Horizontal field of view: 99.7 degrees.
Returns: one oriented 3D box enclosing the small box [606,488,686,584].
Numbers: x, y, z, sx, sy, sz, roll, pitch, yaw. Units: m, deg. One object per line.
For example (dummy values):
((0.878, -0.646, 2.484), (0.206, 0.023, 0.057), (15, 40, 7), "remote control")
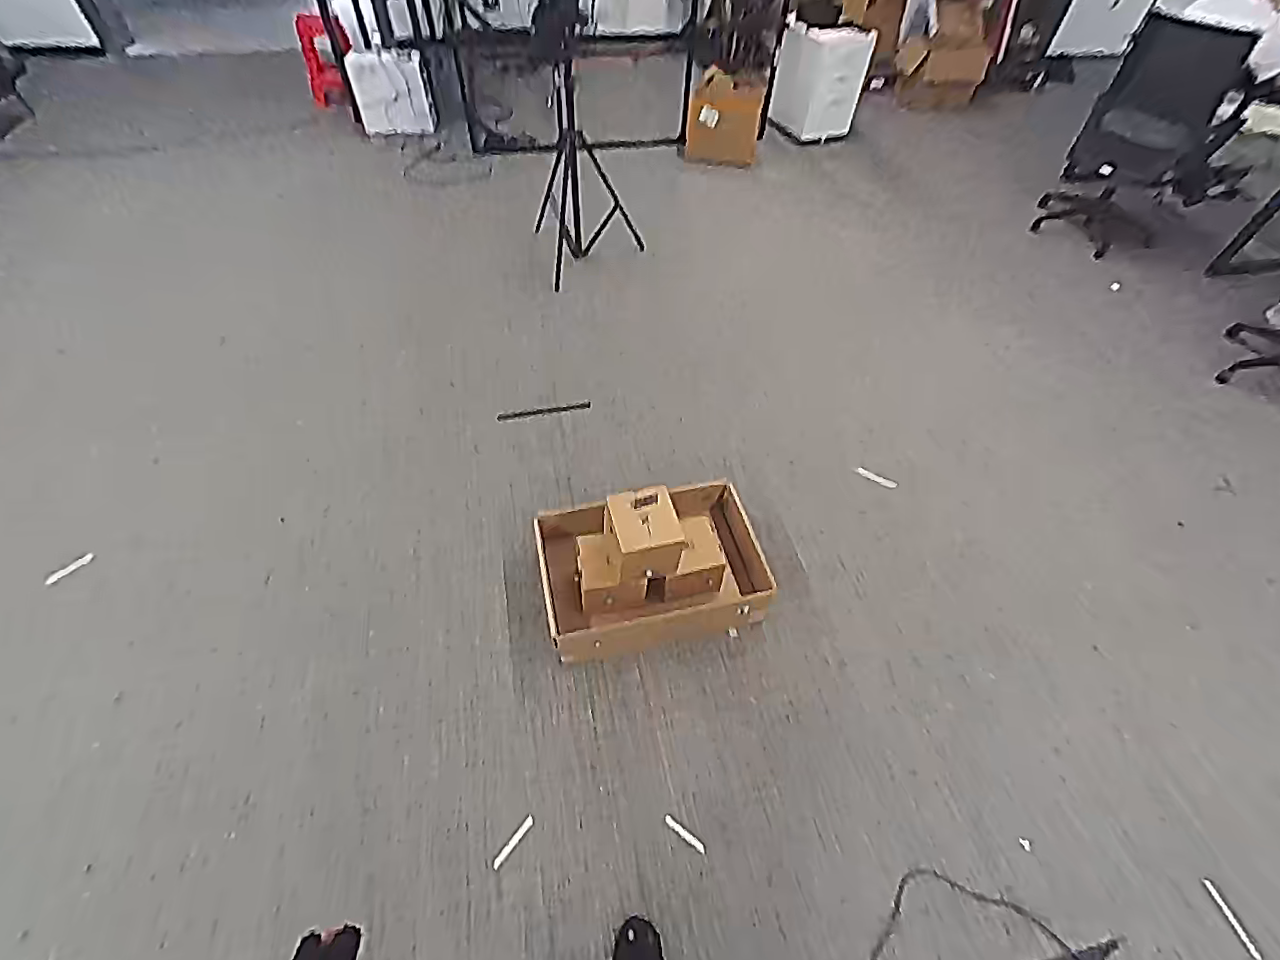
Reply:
((0.009, 0.149, 1.430), (0.168, 0.176, 0.179), (-10, 53, -13), "small box")
